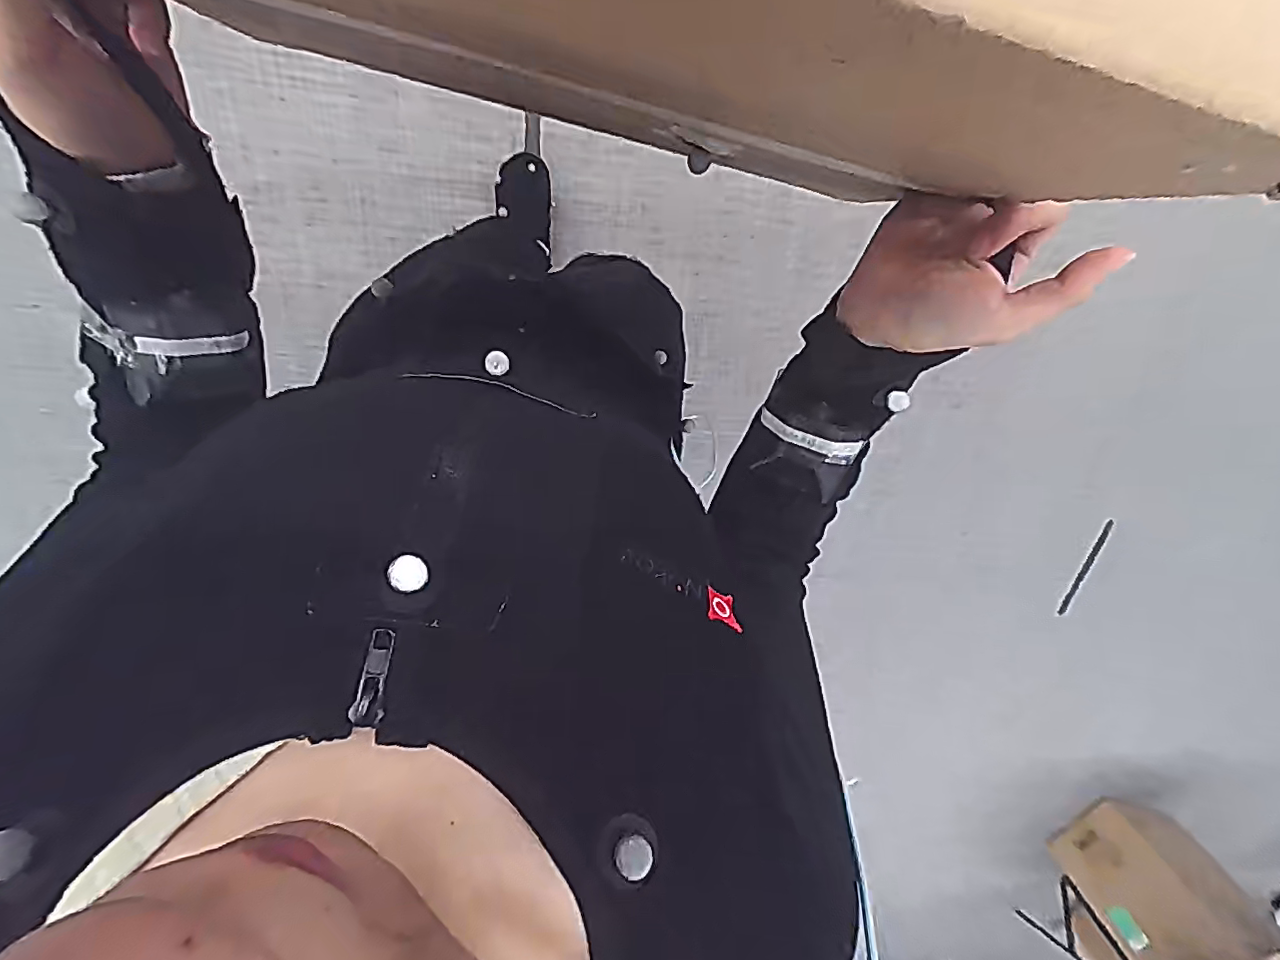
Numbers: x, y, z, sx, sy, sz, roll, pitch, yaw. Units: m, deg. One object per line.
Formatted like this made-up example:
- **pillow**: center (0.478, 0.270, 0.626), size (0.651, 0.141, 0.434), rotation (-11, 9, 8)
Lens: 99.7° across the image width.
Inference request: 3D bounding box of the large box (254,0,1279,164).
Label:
- **large box**: center (0.007, -0.319, 0.153), size (0.408, 0.320, 0.320), rotation (8, 117, -10)
